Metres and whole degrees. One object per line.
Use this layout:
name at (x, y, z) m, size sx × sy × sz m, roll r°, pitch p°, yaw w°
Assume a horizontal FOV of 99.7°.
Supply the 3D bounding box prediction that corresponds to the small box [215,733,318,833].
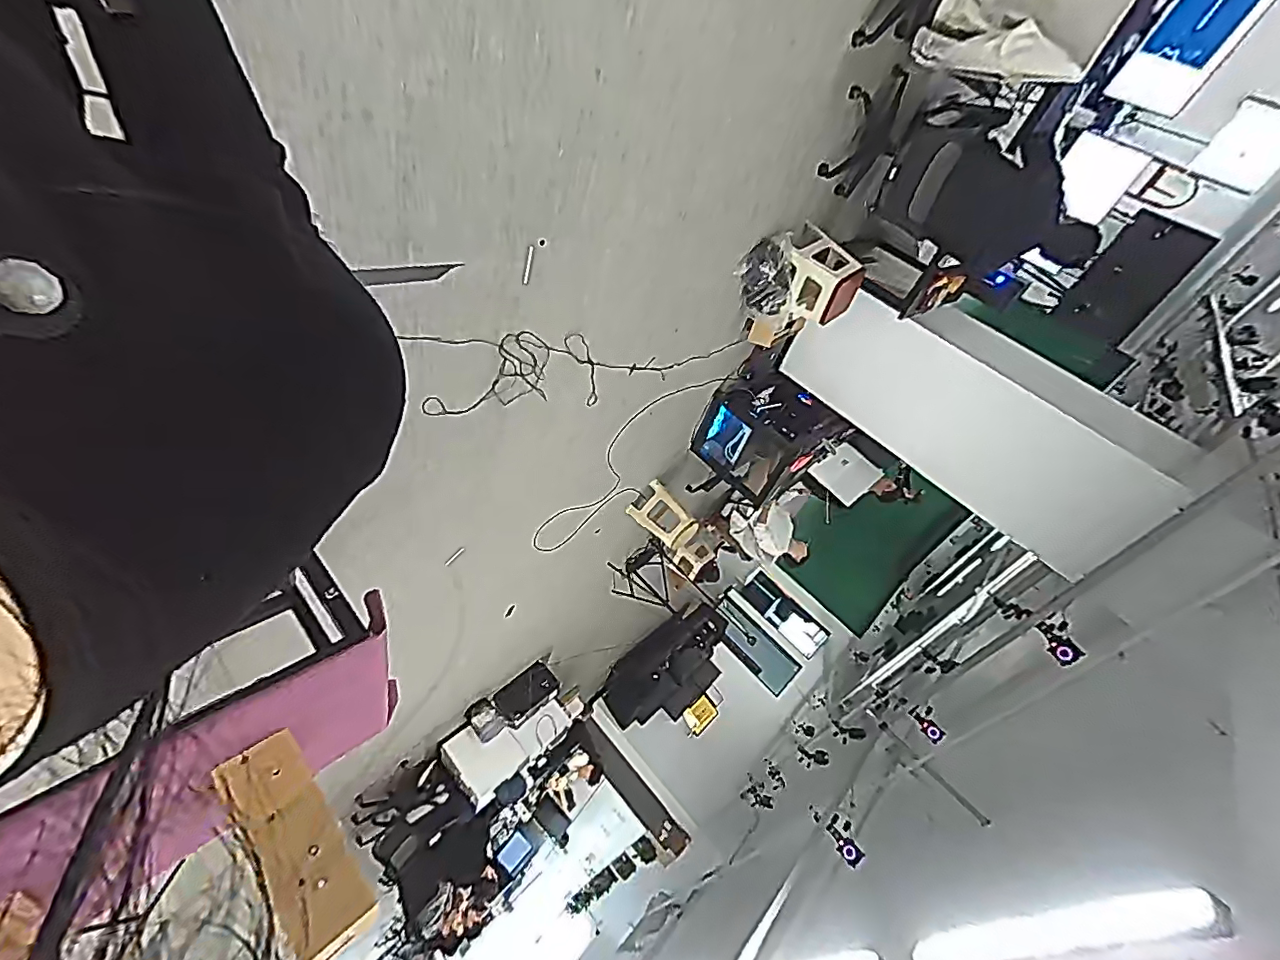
small box at (-0.942, 0.780, 1.373) m, size 0.168 × 0.176 × 0.179 m, roll -26°, pitch 151°, yaw -43°

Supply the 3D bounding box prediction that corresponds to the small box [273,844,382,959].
small box at (-0.721, 0.992, 1.254) m, size 0.168 × 0.176 × 0.179 m, roll -26°, pitch 150°, yaw -43°

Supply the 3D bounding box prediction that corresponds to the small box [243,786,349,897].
small box at (-0.832, 0.888, 1.318) m, size 0.168 × 0.176 × 0.179 m, roll -27°, pitch 152°, yaw -42°

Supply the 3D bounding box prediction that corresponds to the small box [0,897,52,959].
small box at (-1.280, 0.961, 1.047) m, size 0.168 × 0.176 × 0.179 m, roll -24°, pitch 149°, yaw -47°
